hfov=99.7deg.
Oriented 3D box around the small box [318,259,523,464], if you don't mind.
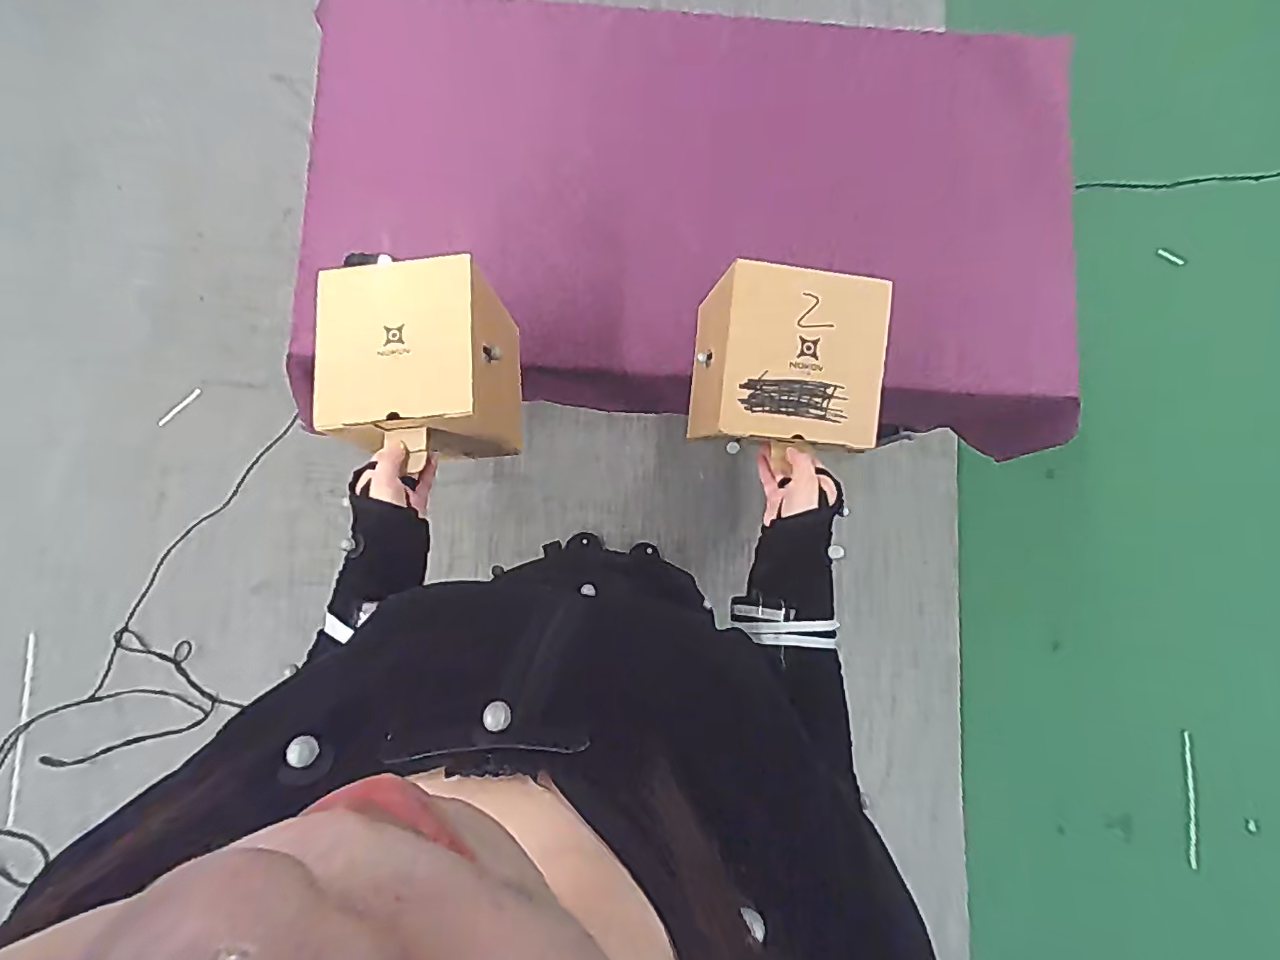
[{"bbox_3d":[-0.238,-0.125,0.626,0.168,0.176,0.179,-5,80,3],"label":"small box"}]
